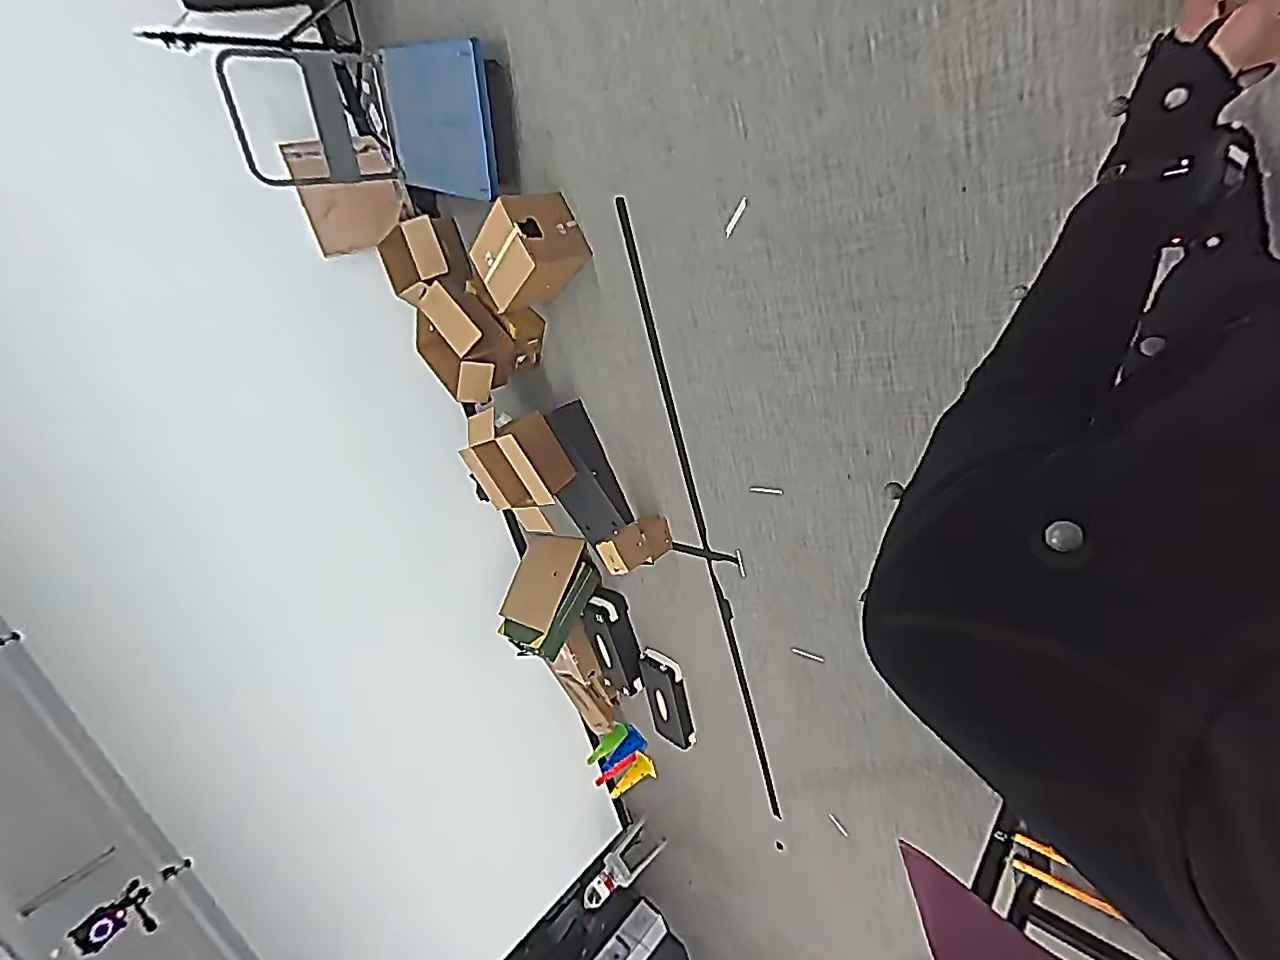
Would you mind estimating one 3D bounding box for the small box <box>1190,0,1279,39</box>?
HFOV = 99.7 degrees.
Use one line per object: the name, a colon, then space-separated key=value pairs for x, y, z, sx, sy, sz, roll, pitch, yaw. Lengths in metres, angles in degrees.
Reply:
small box: x=1.008 y=-0.838 z=0.856 sx=0.168 sy=0.176 sz=0.179 roll=9 pitch=120 yaw=47
